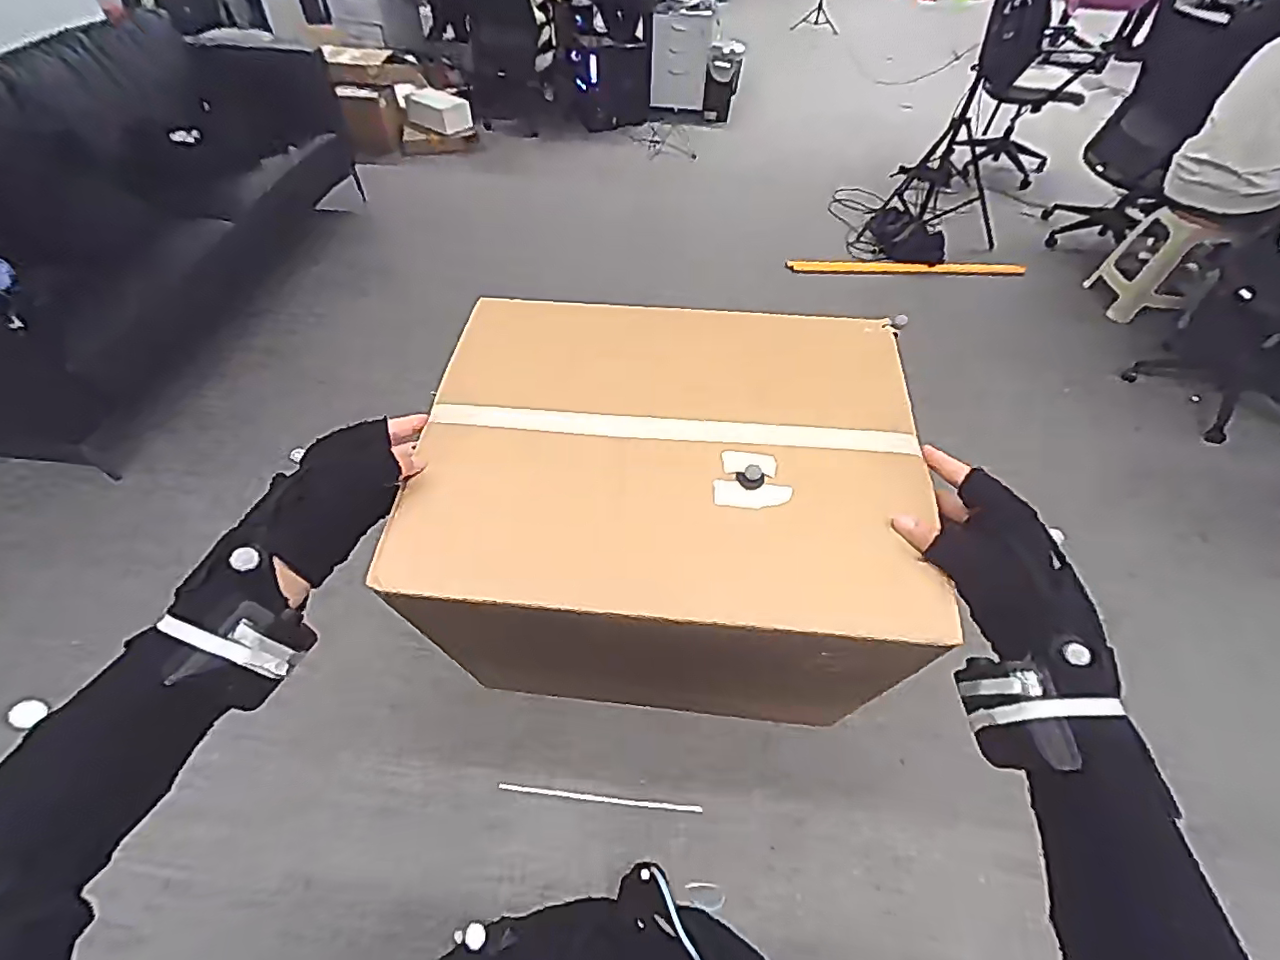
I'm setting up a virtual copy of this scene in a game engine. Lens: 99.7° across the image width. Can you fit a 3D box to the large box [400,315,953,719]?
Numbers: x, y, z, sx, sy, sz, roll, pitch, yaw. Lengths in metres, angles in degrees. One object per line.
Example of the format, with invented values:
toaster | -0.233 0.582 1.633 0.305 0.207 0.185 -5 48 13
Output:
large box | 0.032 0.052 0.587 0.408 0.320 0.320 5 57 3
